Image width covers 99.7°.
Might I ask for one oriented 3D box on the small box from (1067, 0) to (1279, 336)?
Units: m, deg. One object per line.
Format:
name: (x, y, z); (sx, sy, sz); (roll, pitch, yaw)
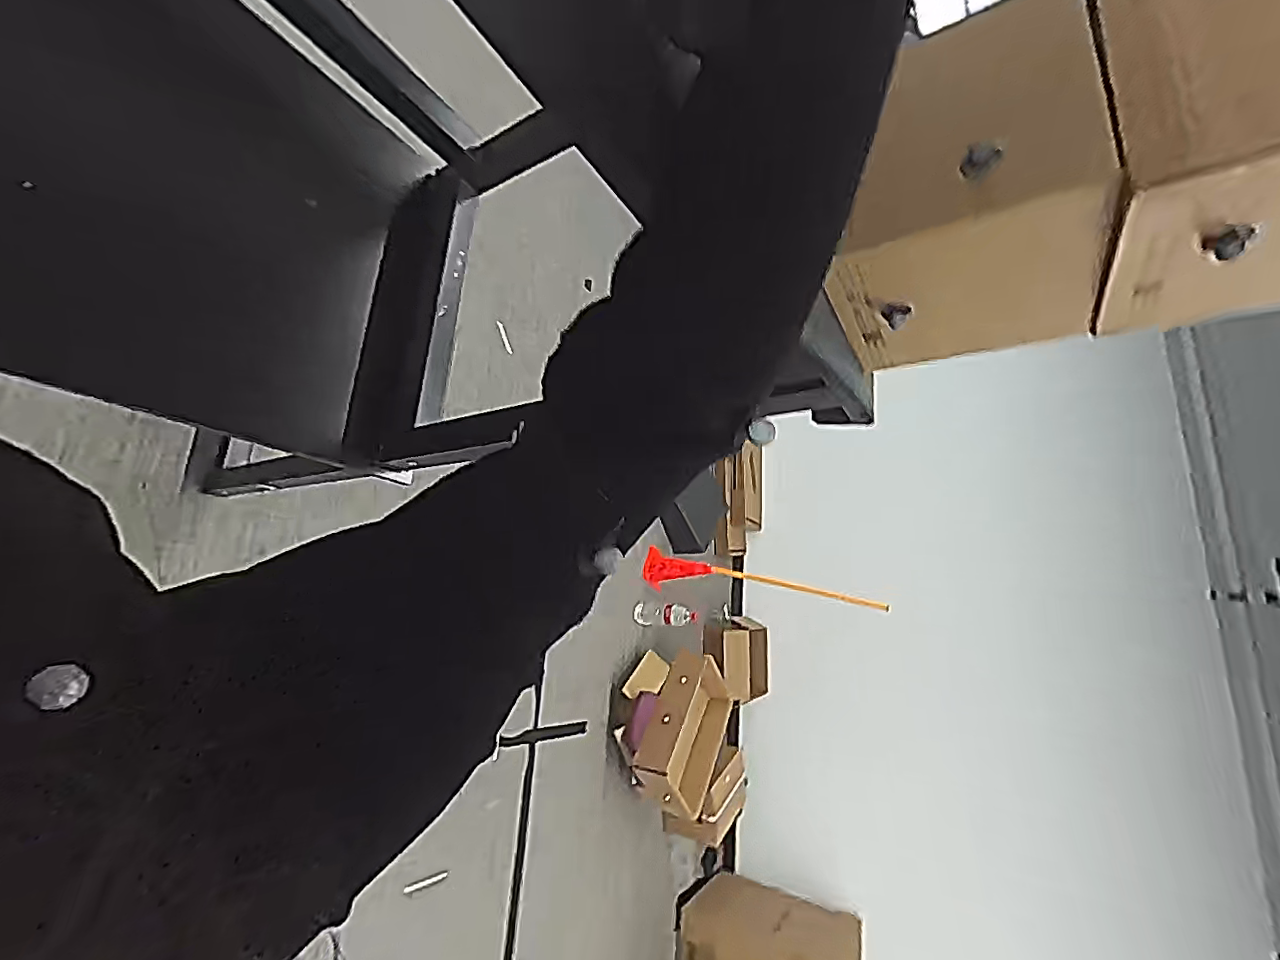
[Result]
small box: (0.380, -0.216, 0.333); (0.168, 0.176, 0.179); (26, 65, -53)
